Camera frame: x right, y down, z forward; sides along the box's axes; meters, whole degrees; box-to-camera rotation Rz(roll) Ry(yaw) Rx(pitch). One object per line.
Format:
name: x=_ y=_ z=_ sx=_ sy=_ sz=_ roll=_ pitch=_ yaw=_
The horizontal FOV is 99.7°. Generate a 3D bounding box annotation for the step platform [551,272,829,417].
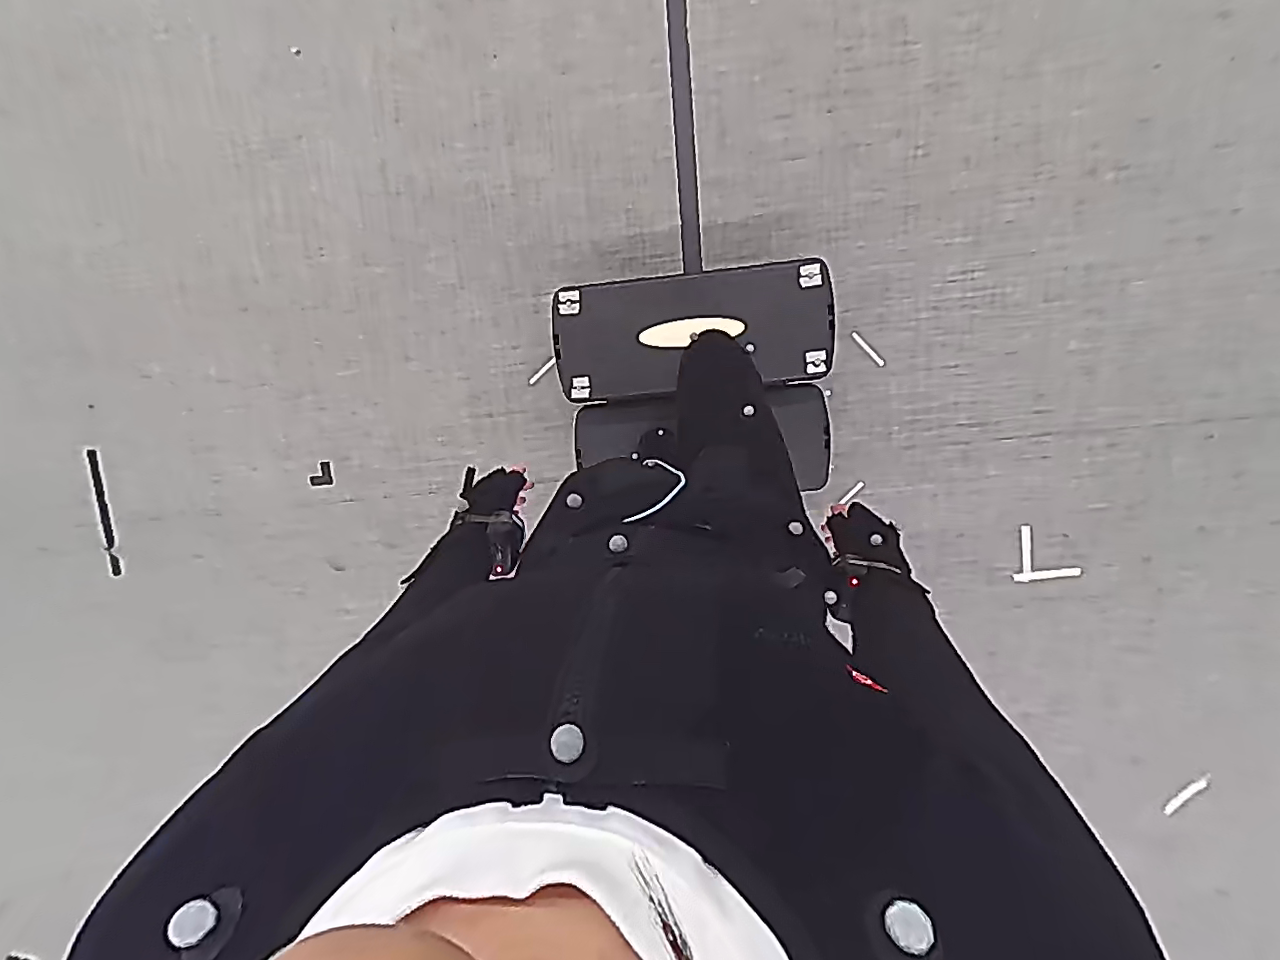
step platform: x=0.119 y=-0.335 z=1.375 sx=0.684 sy=0.204 sz=0.286 roll=-6 pitch=99 yaw=4
